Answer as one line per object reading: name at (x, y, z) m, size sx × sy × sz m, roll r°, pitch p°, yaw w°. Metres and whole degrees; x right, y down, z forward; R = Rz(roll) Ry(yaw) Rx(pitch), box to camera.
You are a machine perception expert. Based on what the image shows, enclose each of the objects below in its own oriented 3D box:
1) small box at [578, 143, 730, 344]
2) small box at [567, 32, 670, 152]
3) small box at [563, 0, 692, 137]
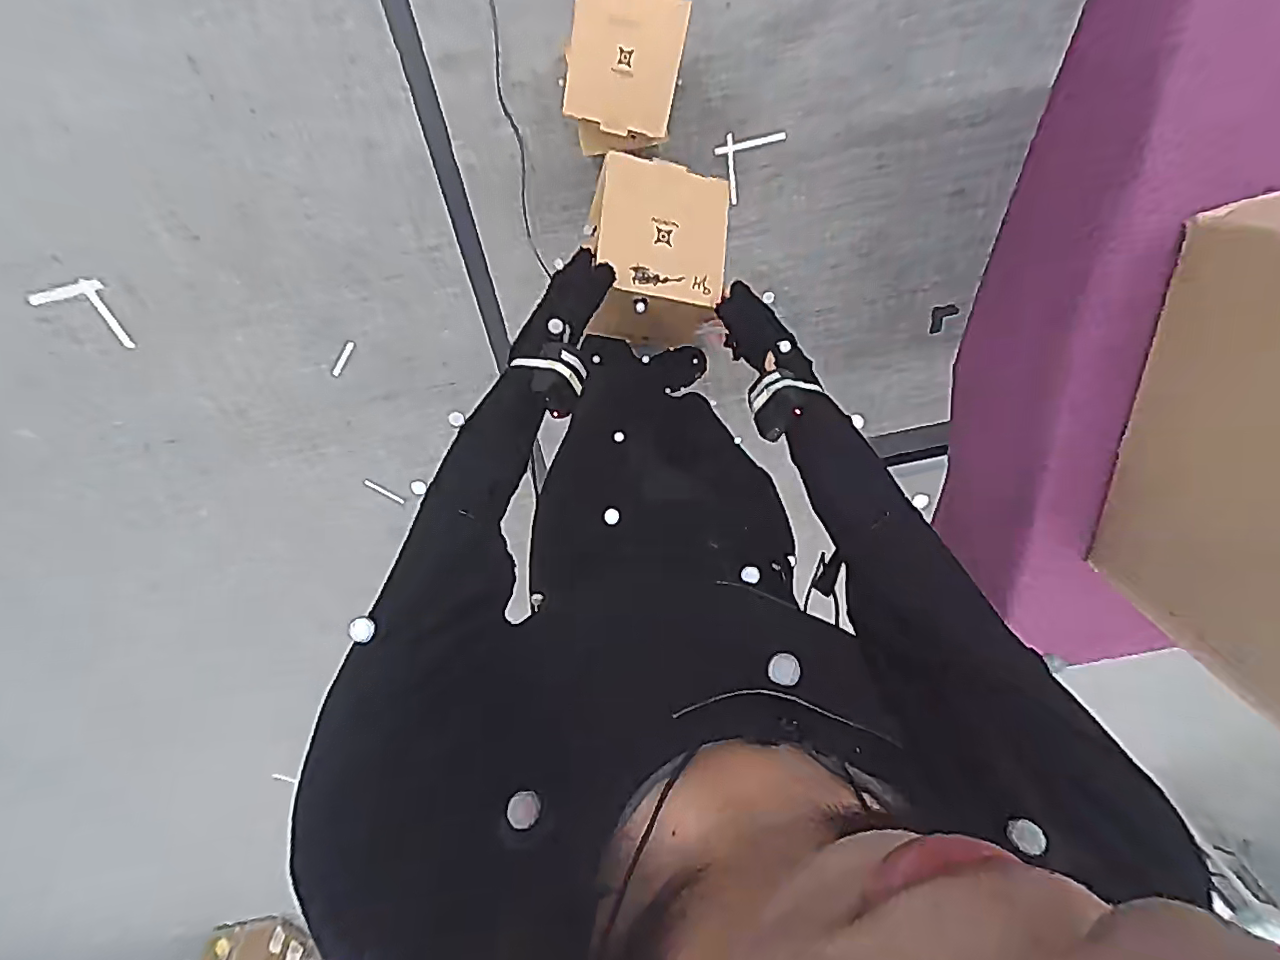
small box at (0.012, -0.309, 0.743) m, size 0.168 × 0.176 × 0.179 m, roll 6°, pitch 83°, yaw -13°
small box at (-0.041, -0.729, 1.017) m, size 0.168 × 0.176 × 0.179 m, roll -9°, pitch 123°, yaw 1°
small box at (-0.027, -0.668, 0.864) m, size 0.168 × 0.176 × 0.179 m, roll 7°, pitch 120°, yaw -11°
